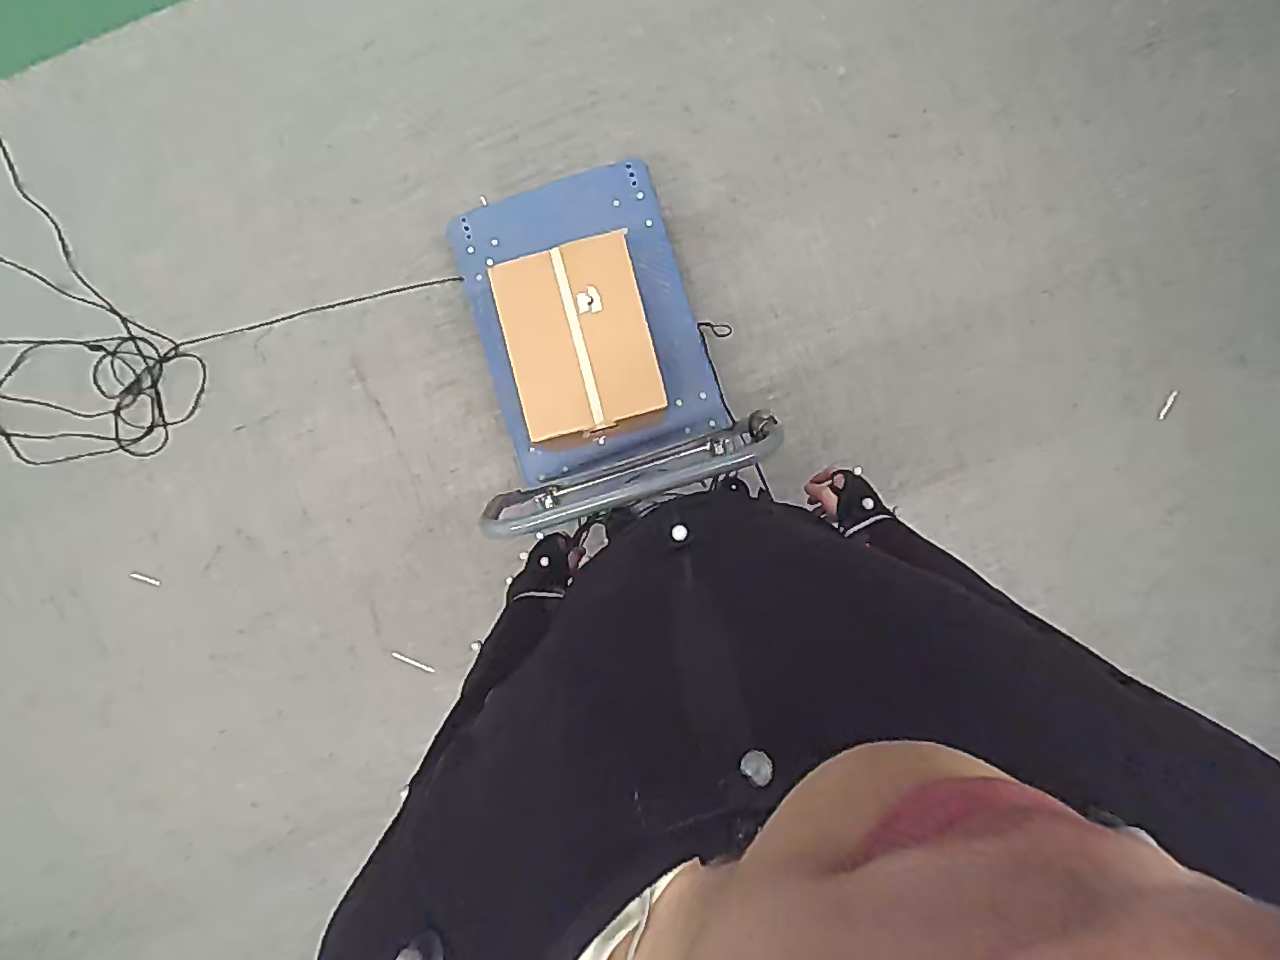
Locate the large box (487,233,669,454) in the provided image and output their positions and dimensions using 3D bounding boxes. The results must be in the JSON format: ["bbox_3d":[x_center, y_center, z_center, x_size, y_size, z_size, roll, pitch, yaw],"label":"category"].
[{"bbox_3d":[-0.130,-0.303,1.318,0.320,0.320,0.408,-15,88,0],"label":"large box"}]
